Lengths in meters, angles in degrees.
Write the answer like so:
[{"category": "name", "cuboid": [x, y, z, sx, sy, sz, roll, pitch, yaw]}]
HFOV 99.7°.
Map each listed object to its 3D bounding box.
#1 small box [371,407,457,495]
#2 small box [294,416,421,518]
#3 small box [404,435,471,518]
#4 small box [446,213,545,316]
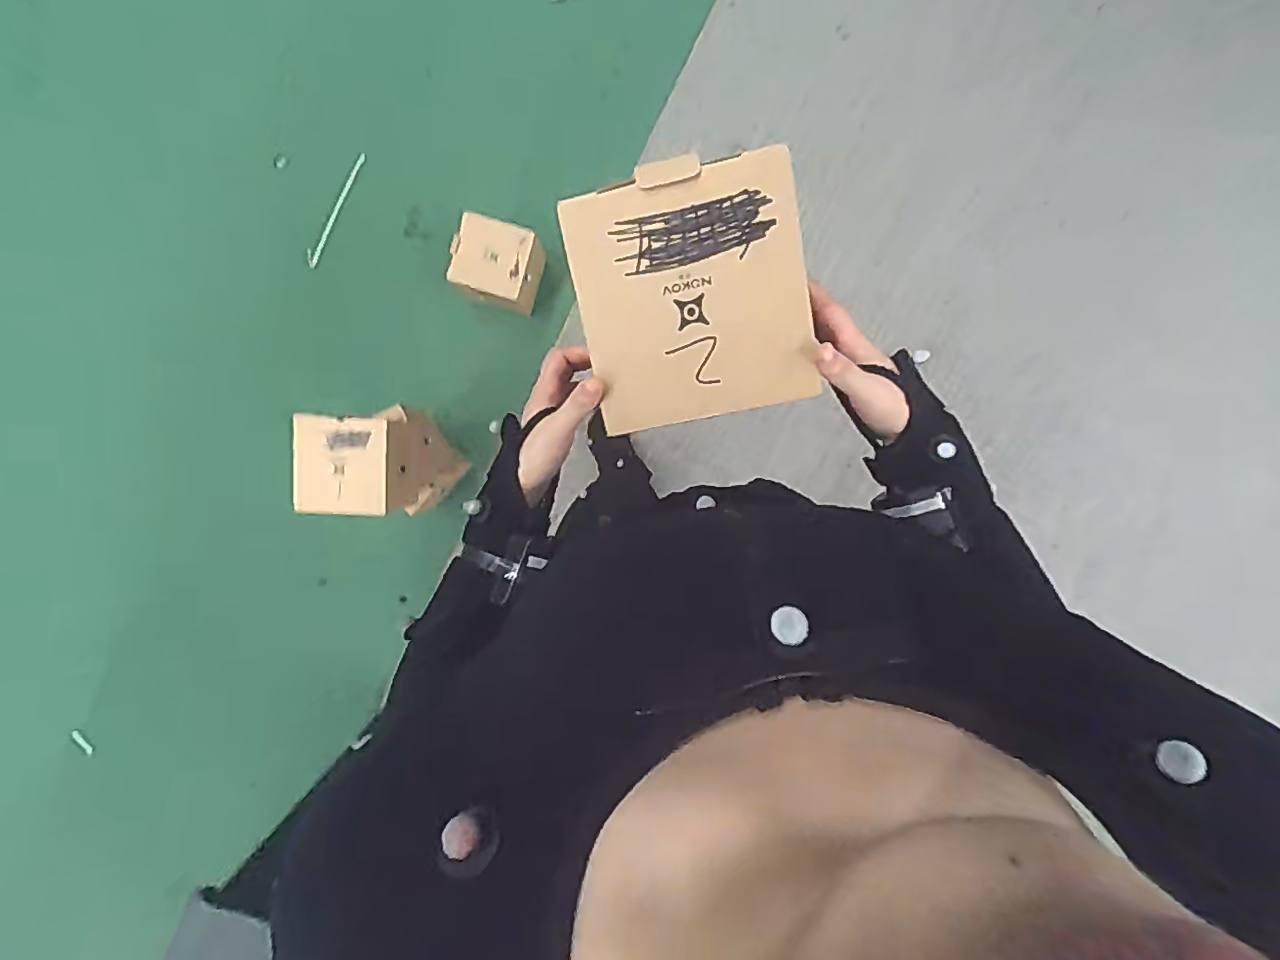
[{"category": "small box", "cuboid": [-0.534, -0.046, 1.202, 0.168, 0.176, 0.179, -27, 93, -1]}, {"category": "small box", "cuboid": [-0.533, -0.028, 1.038, 0.168, 0.176, 0.179, 3, 94, -3]}, {"category": "small box", "cuboid": [-0.559, -0.031, 1.364, 0.179, 0.176, 0.168, 42, 91, -3]}, {"category": "small box", "cuboid": [-0.349, -0.524, 1.339, 0.179, 0.176, 0.168, 16, 93, -2]}]
